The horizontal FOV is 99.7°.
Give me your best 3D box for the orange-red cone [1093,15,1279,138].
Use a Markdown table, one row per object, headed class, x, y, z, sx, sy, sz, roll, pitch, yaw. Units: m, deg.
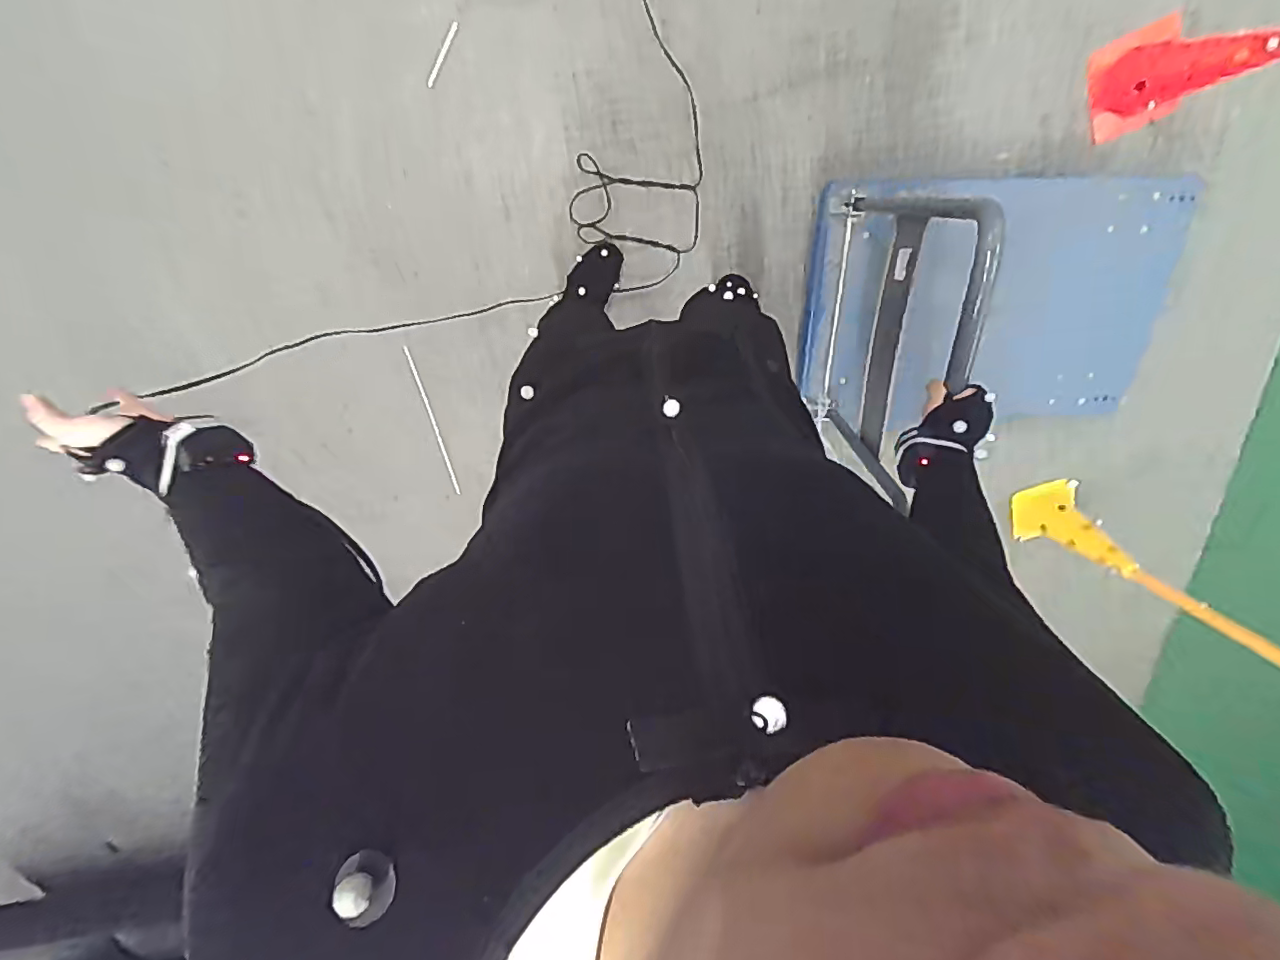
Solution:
| class | x | y | z | sx | sy | sz | roll | pitch | yaw |
| --- | --- | --- | --- | --- | --- | --- | --- | --- | --- |
| orange-red cone | 1.178 | -0.870 | 1.119 | 0.198 | 0.360 | 0.199 | -22 | 114 | 9 |
